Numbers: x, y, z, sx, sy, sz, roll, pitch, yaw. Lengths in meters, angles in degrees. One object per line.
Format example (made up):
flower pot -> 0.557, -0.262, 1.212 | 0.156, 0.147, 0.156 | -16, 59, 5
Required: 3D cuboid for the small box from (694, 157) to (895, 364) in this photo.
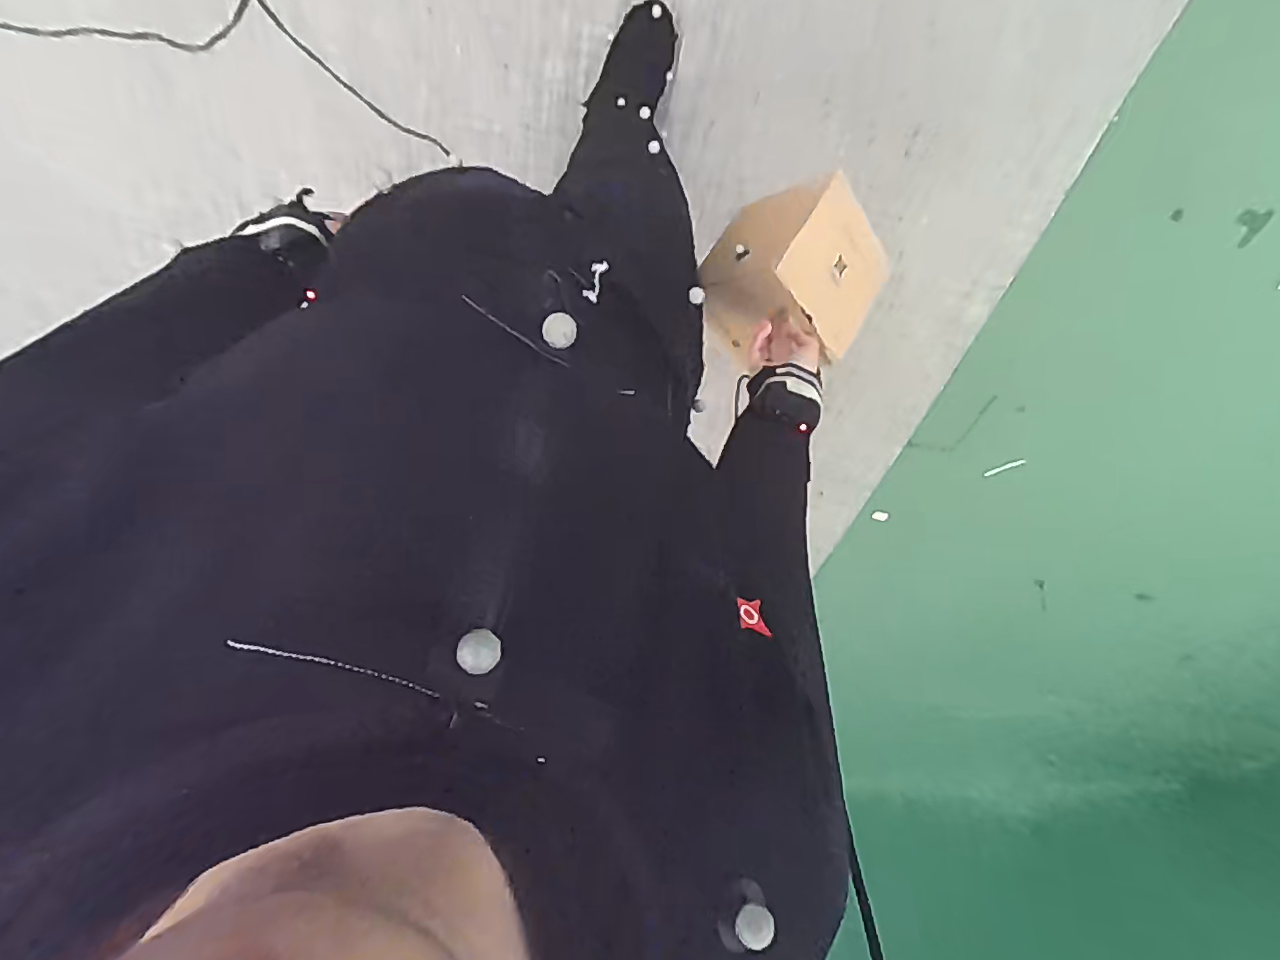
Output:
small box -> 0.197, -0.271, 0.716 | 0.168, 0.179, 0.176 | 40, 162, -33
